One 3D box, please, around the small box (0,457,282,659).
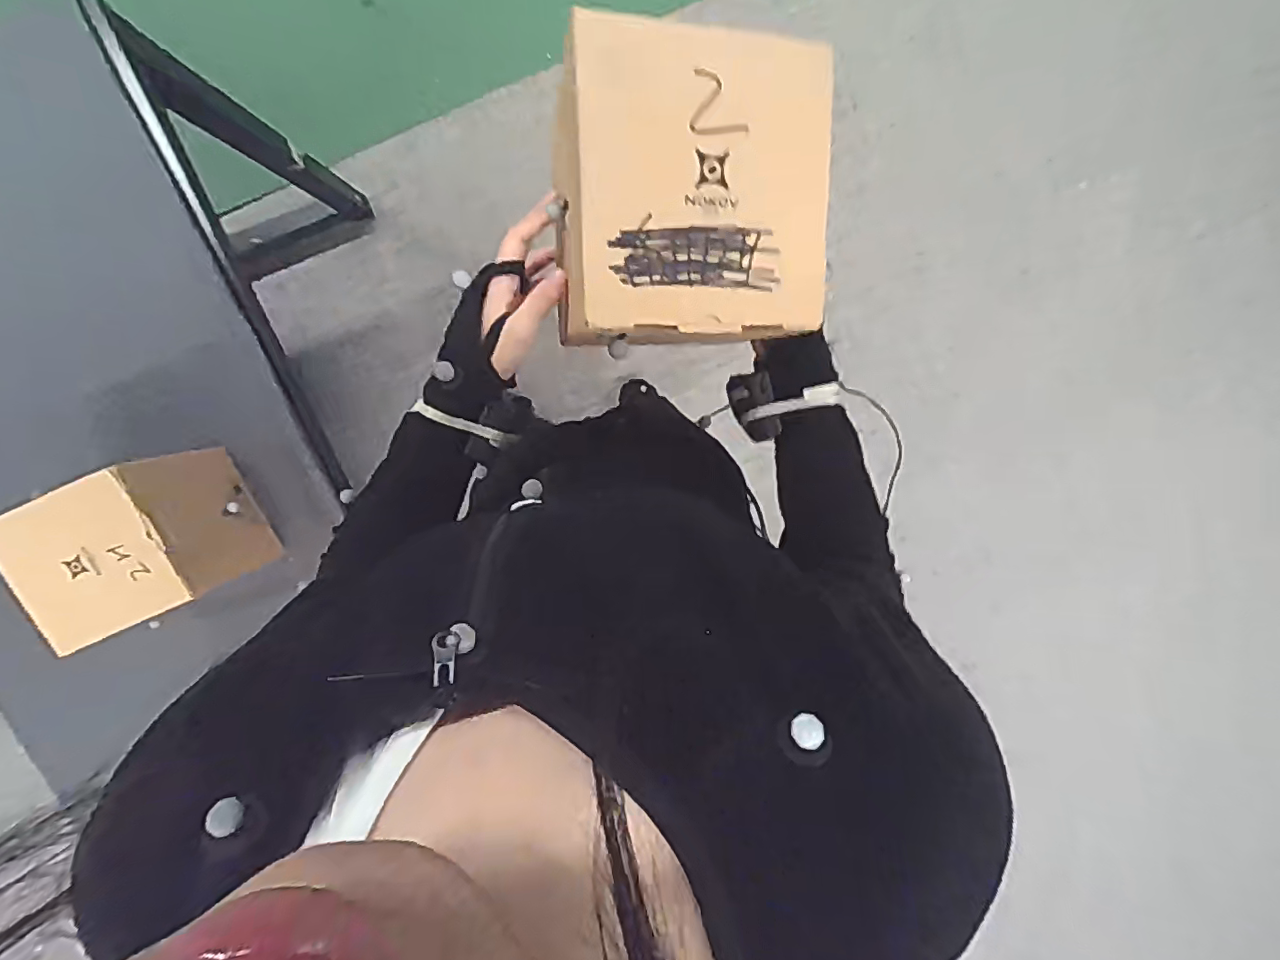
[{"bbox_3d":[-0.606,0.085,0.674,0.179,0.176,0.168,-24,100,3],"label":"small box"}]
